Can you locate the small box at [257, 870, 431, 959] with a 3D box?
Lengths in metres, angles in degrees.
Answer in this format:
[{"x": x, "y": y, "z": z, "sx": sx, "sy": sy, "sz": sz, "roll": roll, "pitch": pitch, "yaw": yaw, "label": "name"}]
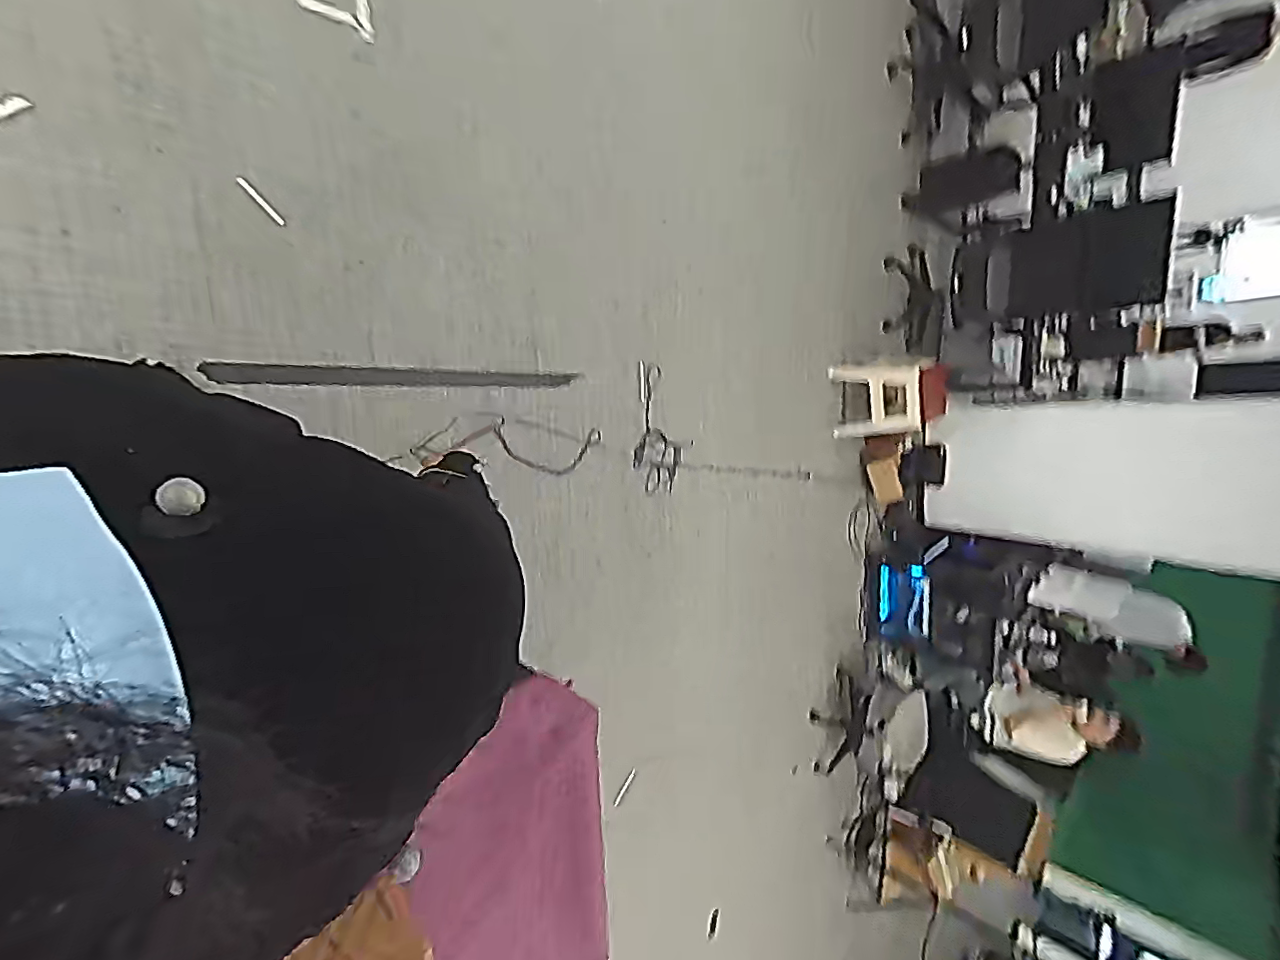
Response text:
[{"x": -0.386, "y": 0.674, "z": 0.706, "sx": 0.179, "sy": 0.176, "sz": 0.168, "roll": -9, "pitch": 101, "yaw": -42, "label": "small box"}]
